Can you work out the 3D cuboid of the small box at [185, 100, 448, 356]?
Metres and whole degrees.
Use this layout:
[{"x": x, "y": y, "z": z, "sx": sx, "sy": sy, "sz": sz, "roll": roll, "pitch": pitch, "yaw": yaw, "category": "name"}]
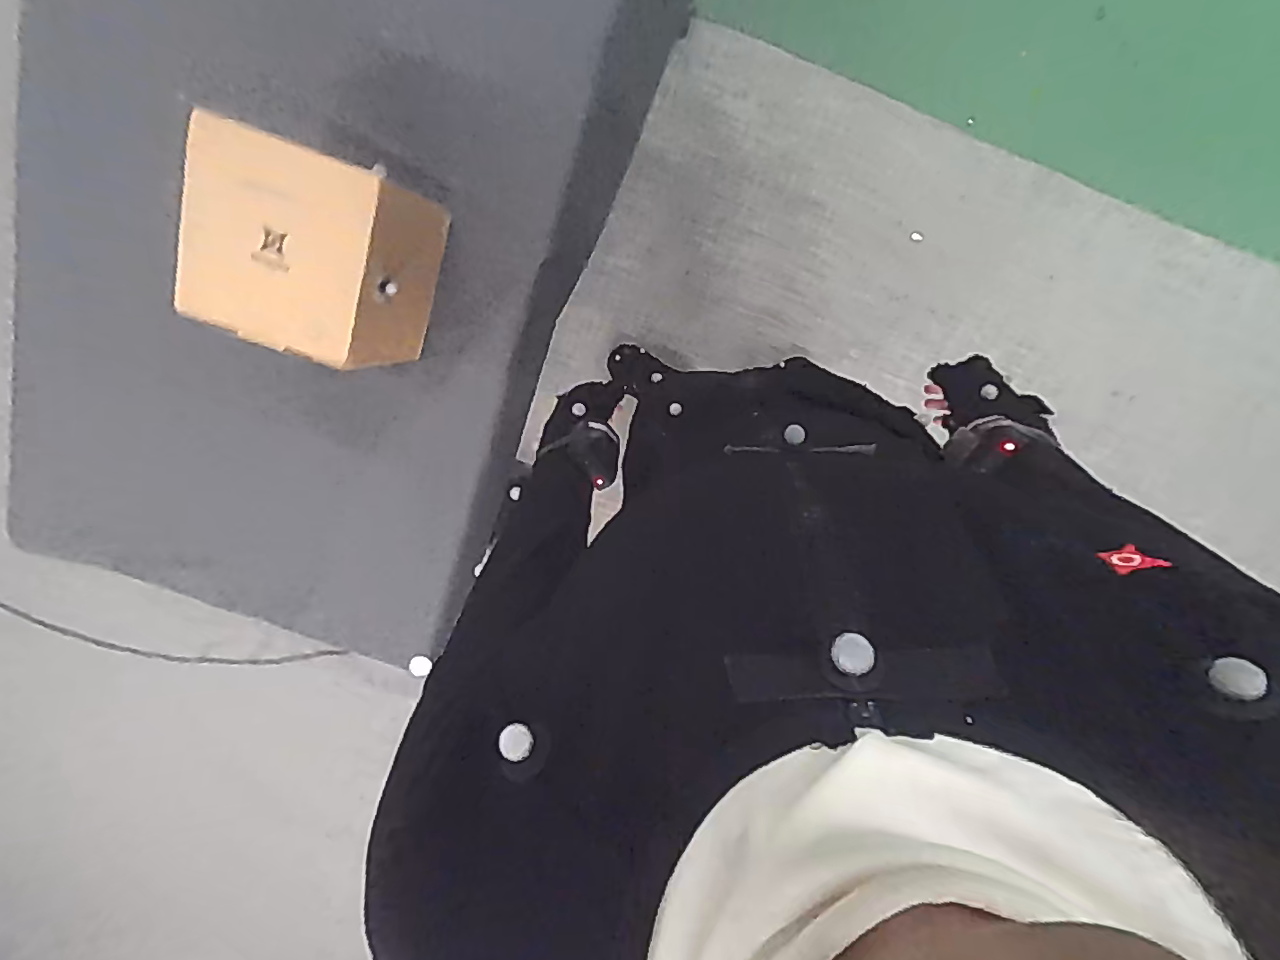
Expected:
[{"x": -0.322, "y": -0.245, "z": 0.567, "sx": 0.168, "sy": 0.176, "sz": 0.179, "roll": 18, "pitch": 106, "yaw": -4, "category": "small box"}]
